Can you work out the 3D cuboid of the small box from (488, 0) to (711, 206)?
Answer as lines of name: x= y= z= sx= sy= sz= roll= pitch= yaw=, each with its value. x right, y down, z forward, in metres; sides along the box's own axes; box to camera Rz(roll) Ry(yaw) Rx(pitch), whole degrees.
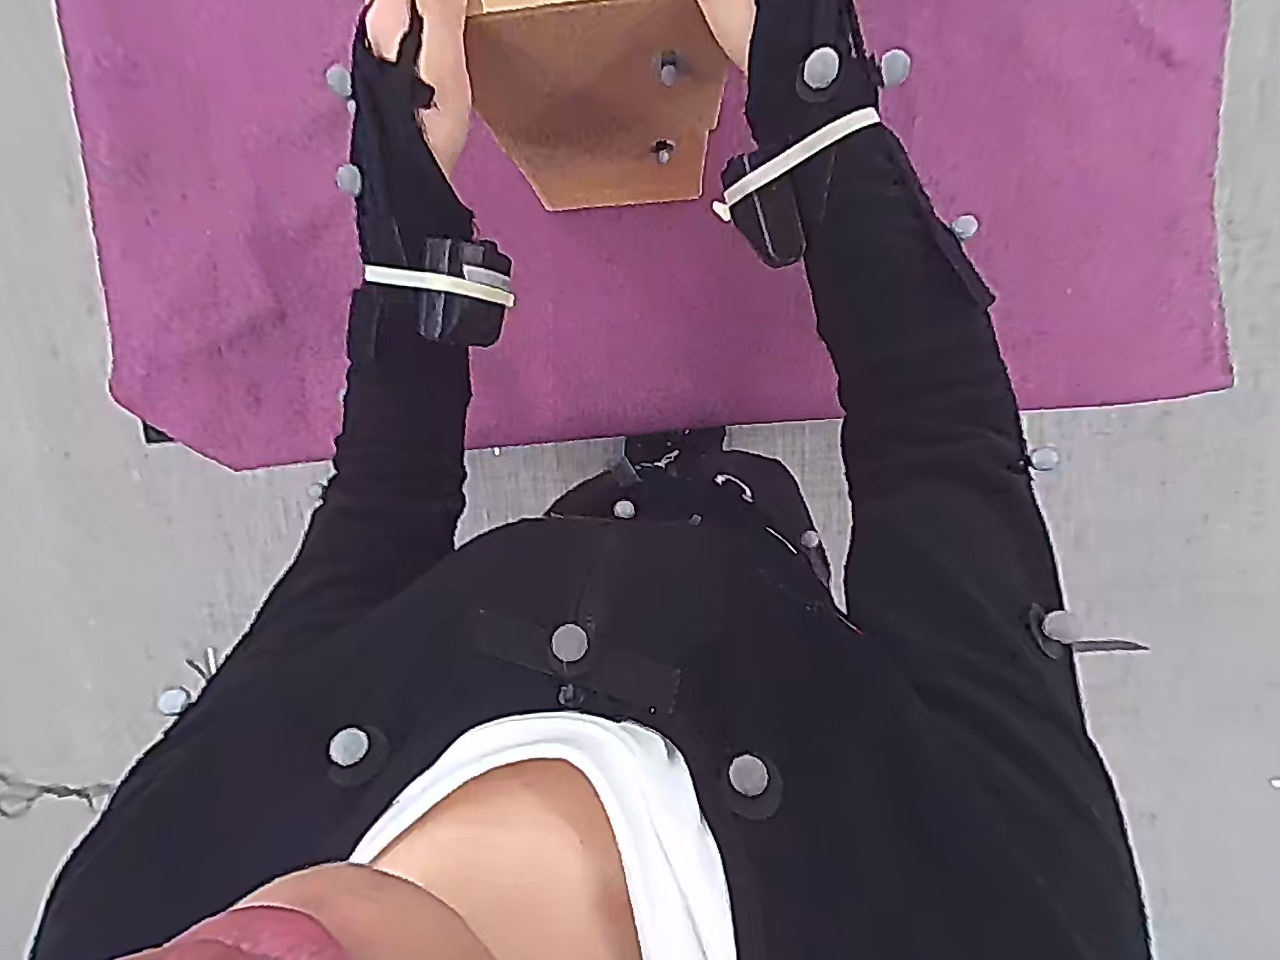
small box: x=-0.029 y=-0.374 z=0.506 sx=0.179 sy=0.176 sz=0.168 roll=-3 pitch=98 yaw=3
